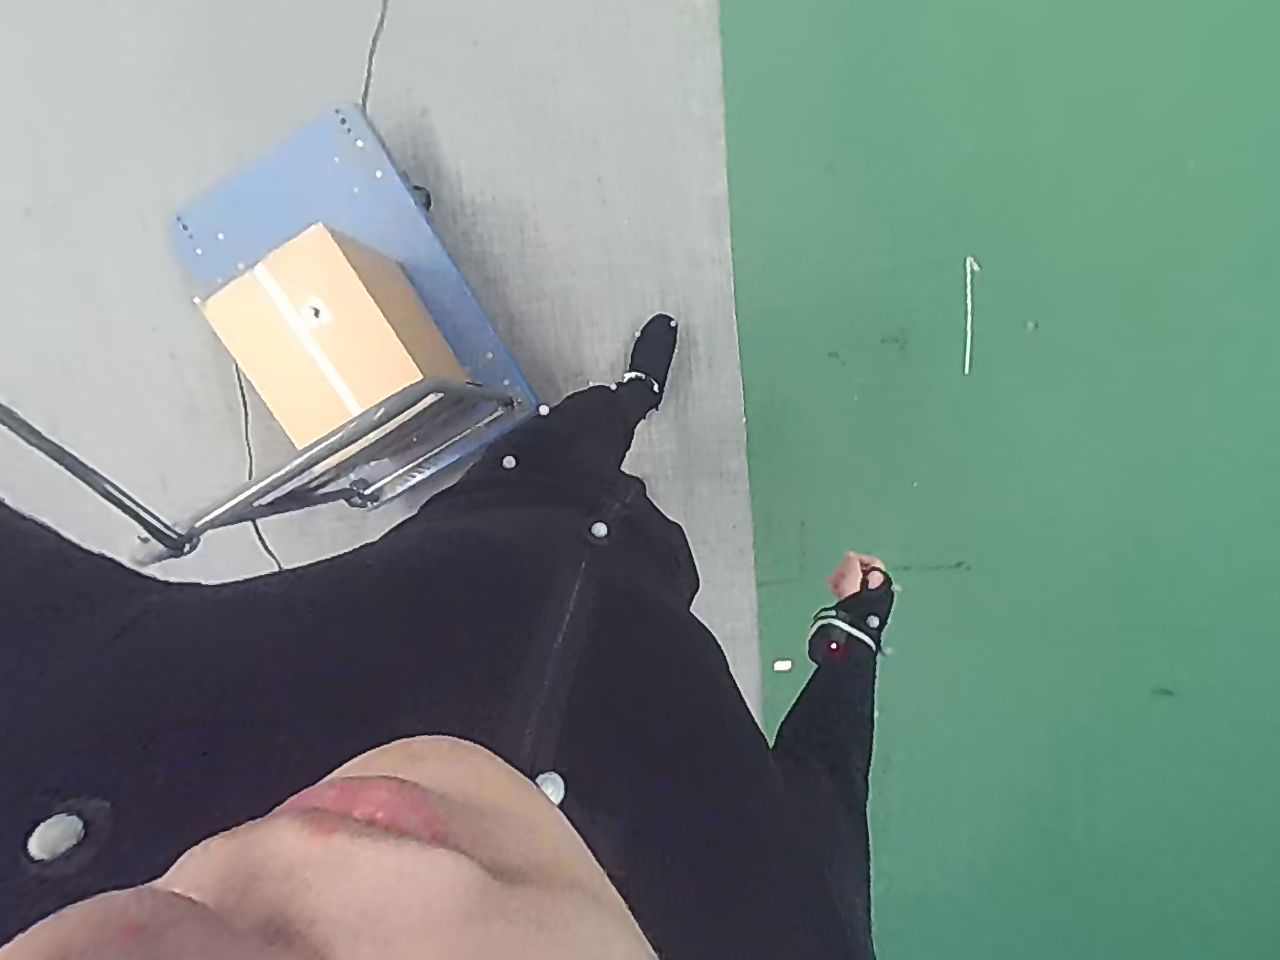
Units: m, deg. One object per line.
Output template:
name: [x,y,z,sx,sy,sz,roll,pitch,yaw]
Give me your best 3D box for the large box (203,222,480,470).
large box: [-0.639,-0.284,1.235,0.320,0.320,0.408,-30,97,5]
